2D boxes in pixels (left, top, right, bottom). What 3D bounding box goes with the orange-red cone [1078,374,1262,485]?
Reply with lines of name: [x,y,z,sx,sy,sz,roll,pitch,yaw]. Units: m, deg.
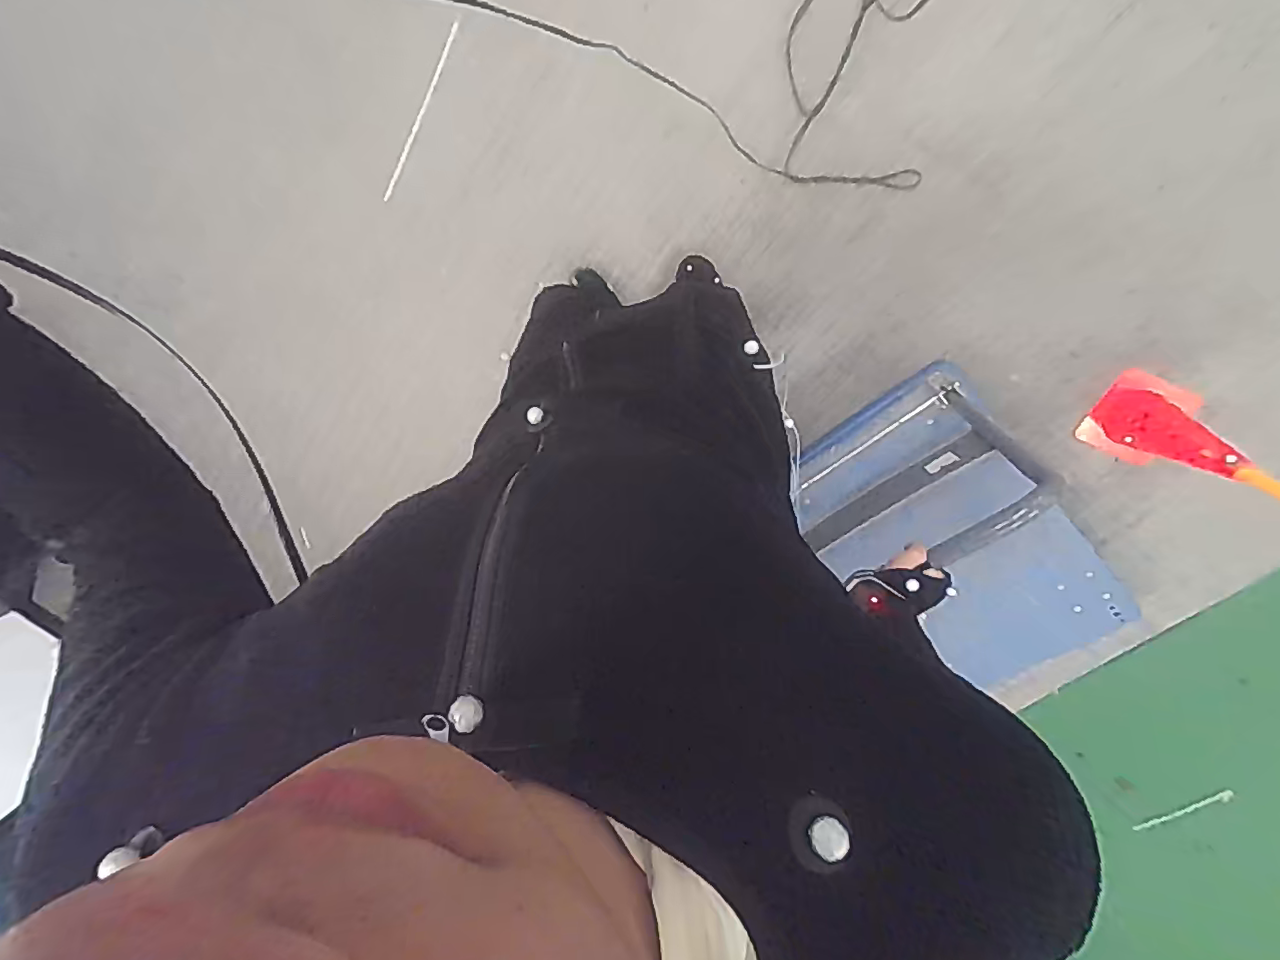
orange-red cone: [1.205,-0.078,1.193,0.198,0.360,0.199,25,116,0]
